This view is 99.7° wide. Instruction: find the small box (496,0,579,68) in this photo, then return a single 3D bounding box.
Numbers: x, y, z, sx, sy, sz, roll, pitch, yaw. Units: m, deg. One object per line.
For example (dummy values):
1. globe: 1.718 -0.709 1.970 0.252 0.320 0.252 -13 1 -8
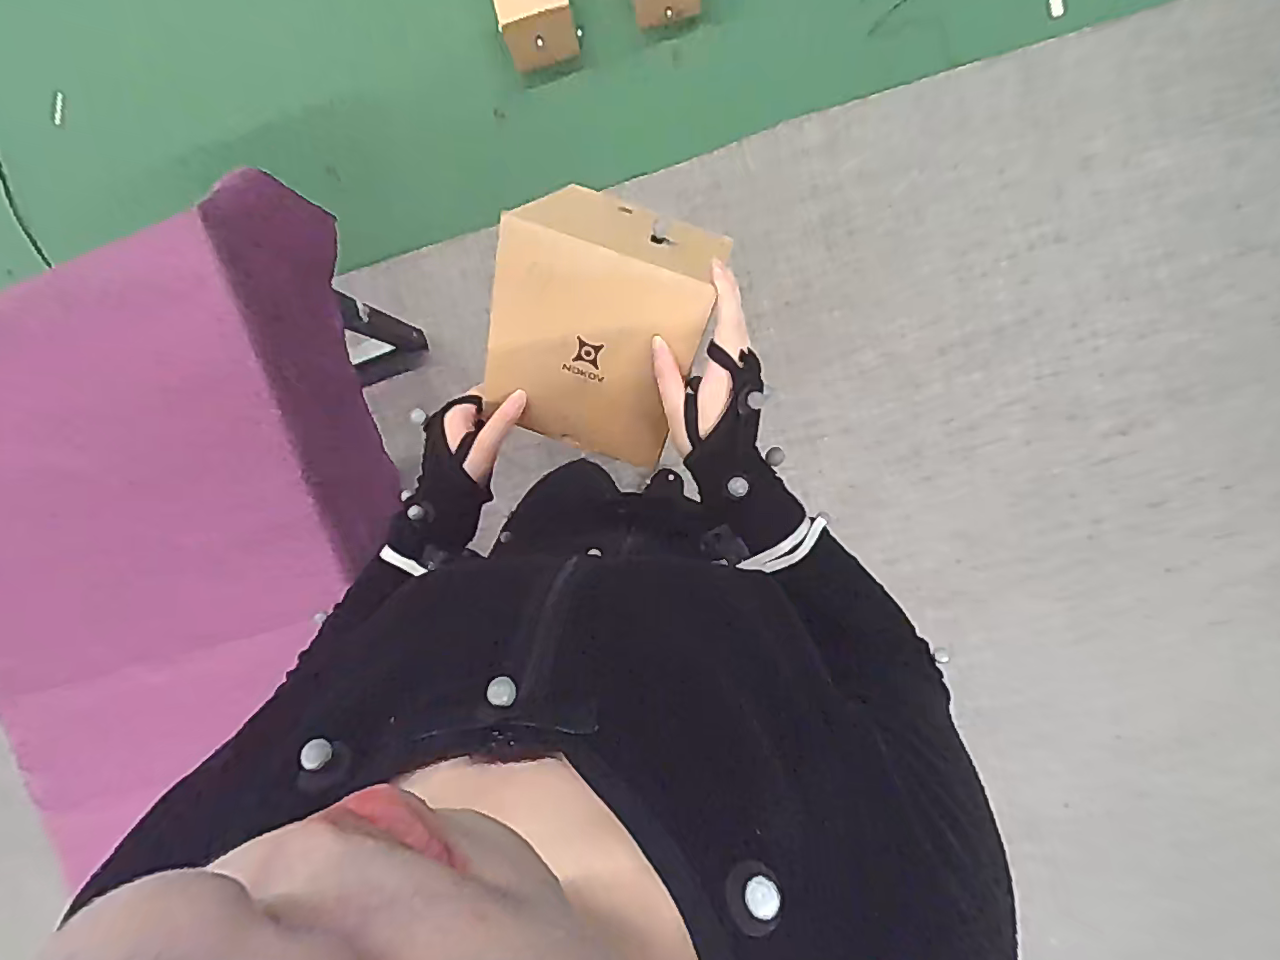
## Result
1. small box: -0.260 -1.189 1.355 0.179 0.176 0.168 -14 92 5
